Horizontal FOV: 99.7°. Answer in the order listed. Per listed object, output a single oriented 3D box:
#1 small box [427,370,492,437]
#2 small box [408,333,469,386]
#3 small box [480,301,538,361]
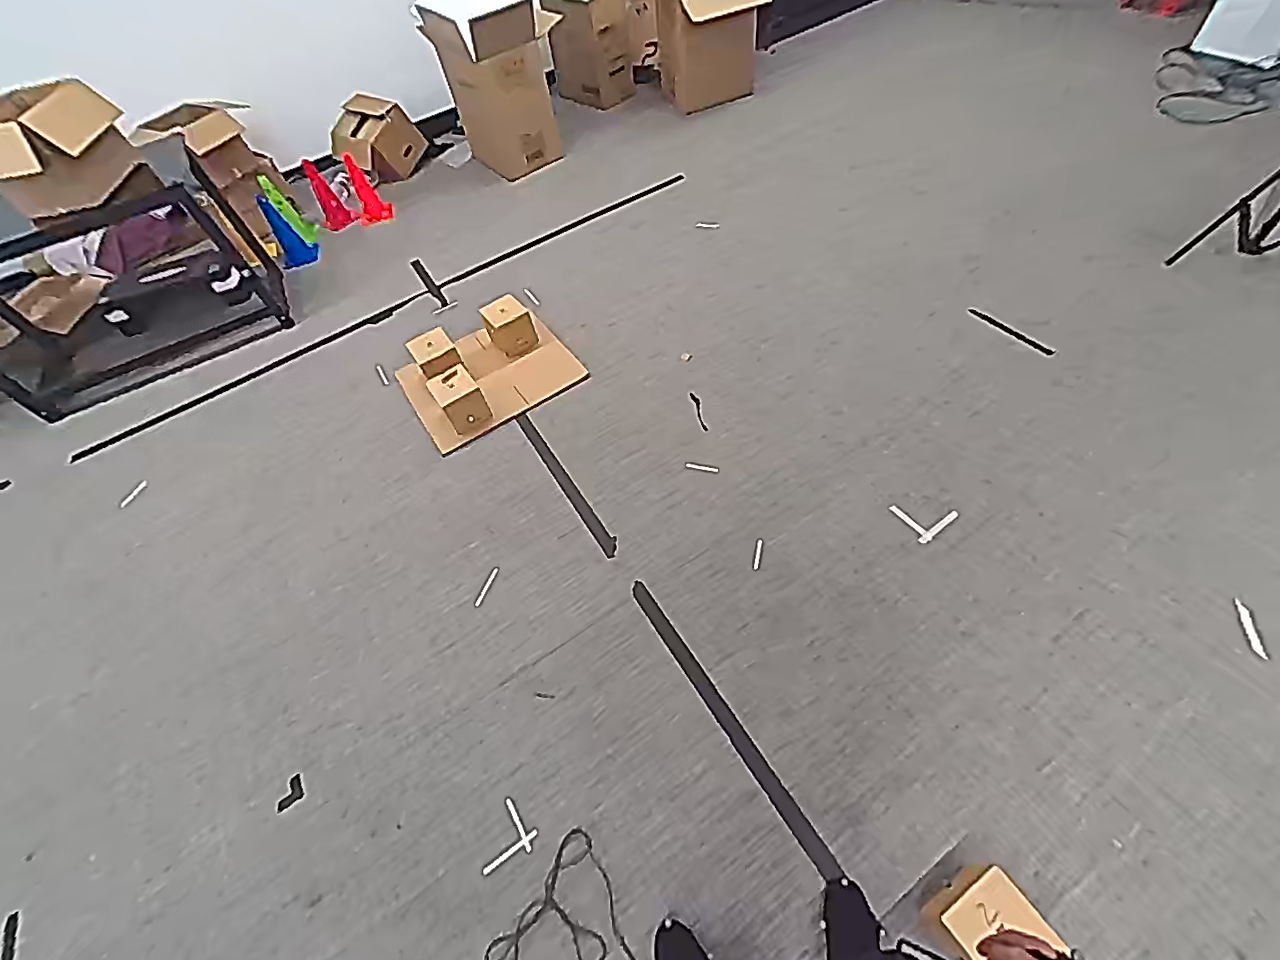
[{"bbox_3d":[-0.729,-0.307,2.197,0.168,0.176,0.179,-33,58,-14],"label":"small box"},{"bbox_3d":[-0.872,-0.498,2.352,0.168,0.176,0.179,-33,57,-14],"label":"small box"},{"bbox_3d":[-0.588,-0.670,2.439,0.168,0.176,0.179,-35,57,-16],"label":"small box"}]
